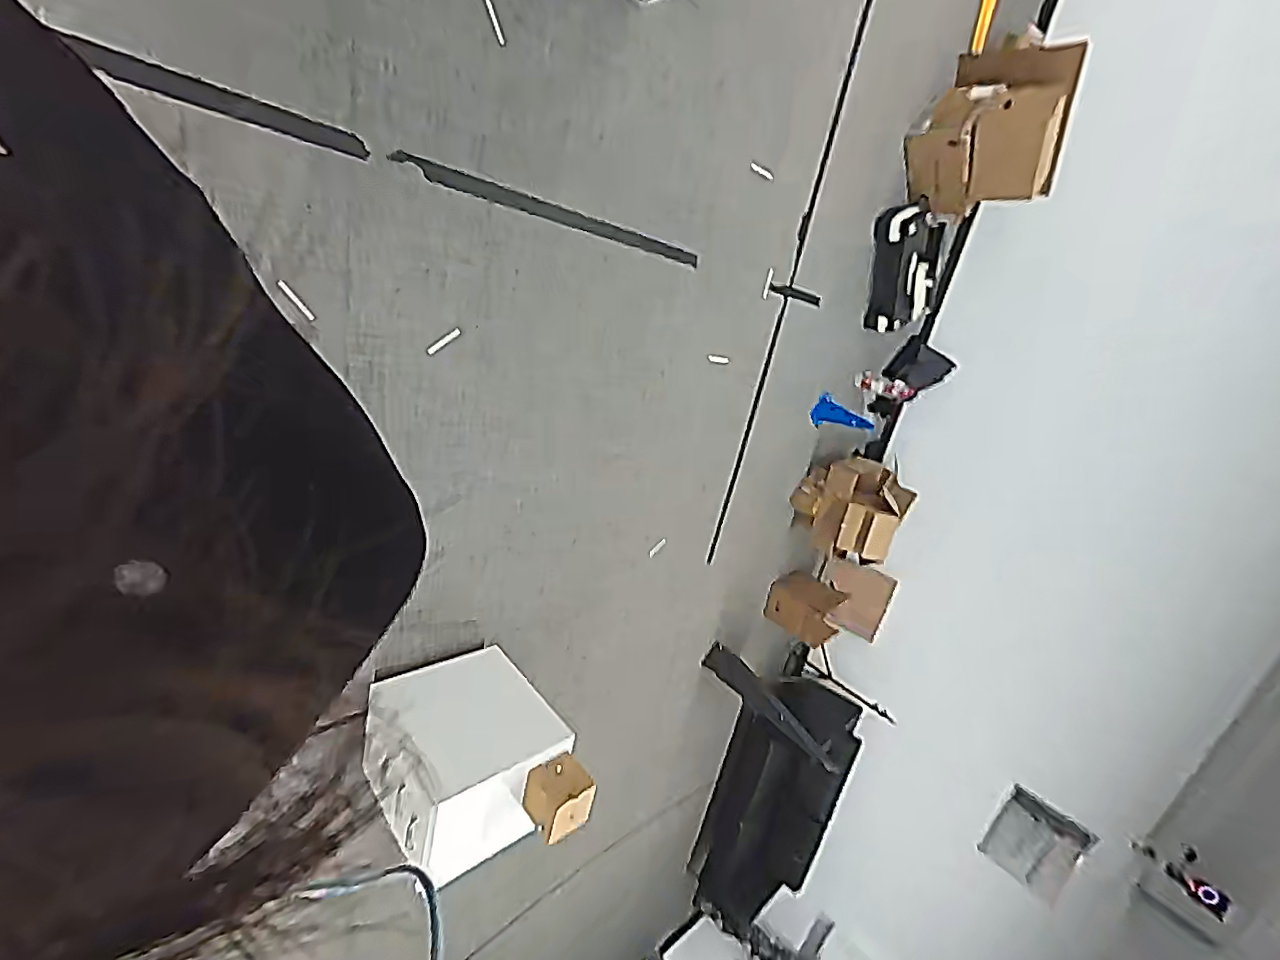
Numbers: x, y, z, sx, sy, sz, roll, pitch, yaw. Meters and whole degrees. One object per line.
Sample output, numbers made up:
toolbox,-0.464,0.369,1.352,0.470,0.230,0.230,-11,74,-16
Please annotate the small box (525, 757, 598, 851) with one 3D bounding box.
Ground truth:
small box,-0.271,1.086,1.826,0.168,0.176,0.179,-6,118,-44
